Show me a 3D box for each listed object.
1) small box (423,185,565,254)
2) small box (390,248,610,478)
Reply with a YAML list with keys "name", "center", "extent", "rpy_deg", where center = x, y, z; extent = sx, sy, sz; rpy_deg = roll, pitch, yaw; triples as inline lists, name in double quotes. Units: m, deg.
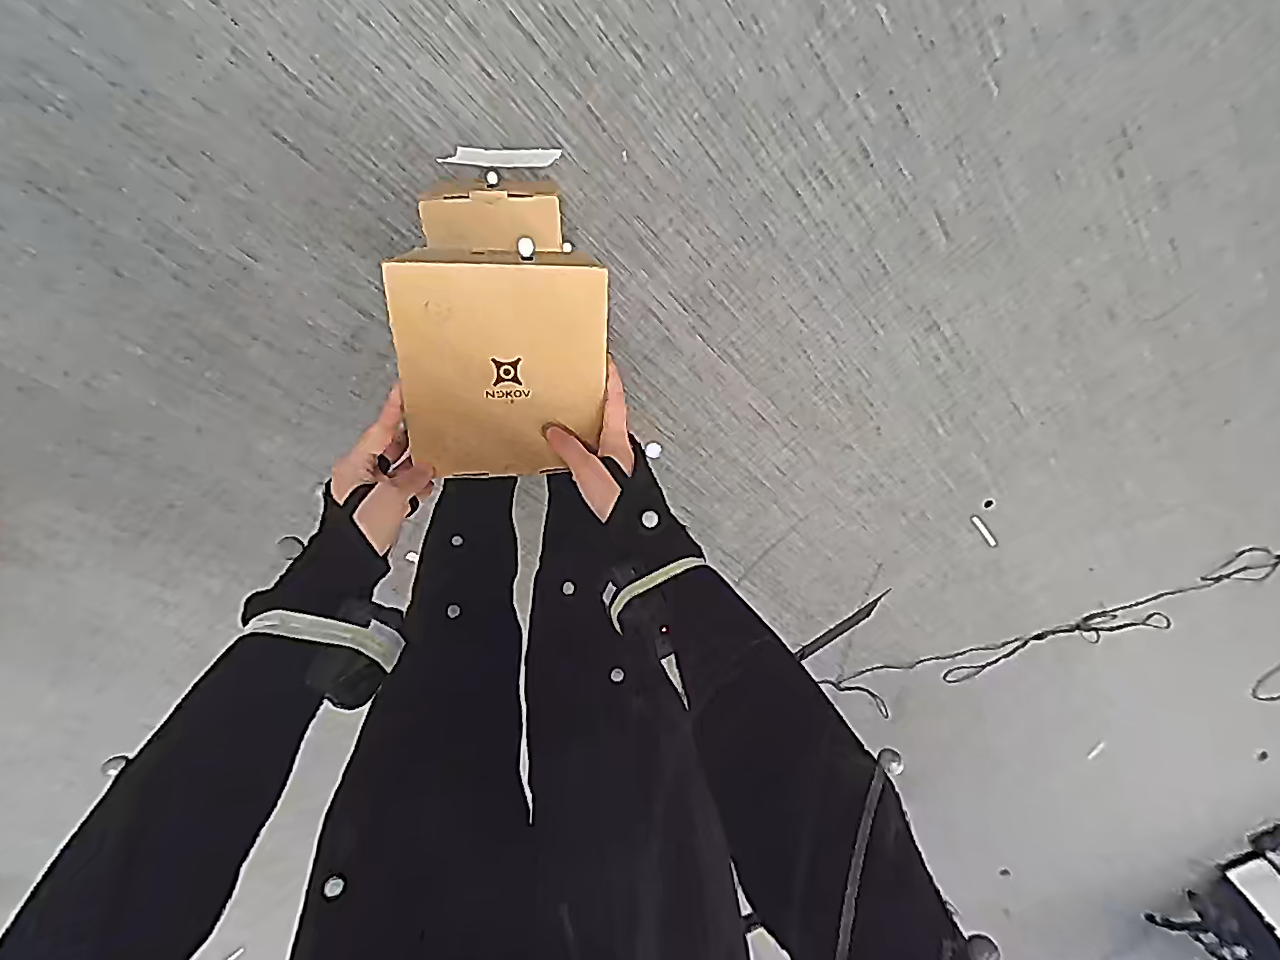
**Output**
- name: "small box"
  center: [-0.190, -0.307, 0.752]
  extent: [0.168, 0.176, 0.179]
  rpy_deg: [-6, 124, -8]
- name: "small box"
  center: [-0.125, -0.120, 0.511]
  extent: [0.168, 0.176, 0.179]
  rpy_deg: [-4, 118, -13]
